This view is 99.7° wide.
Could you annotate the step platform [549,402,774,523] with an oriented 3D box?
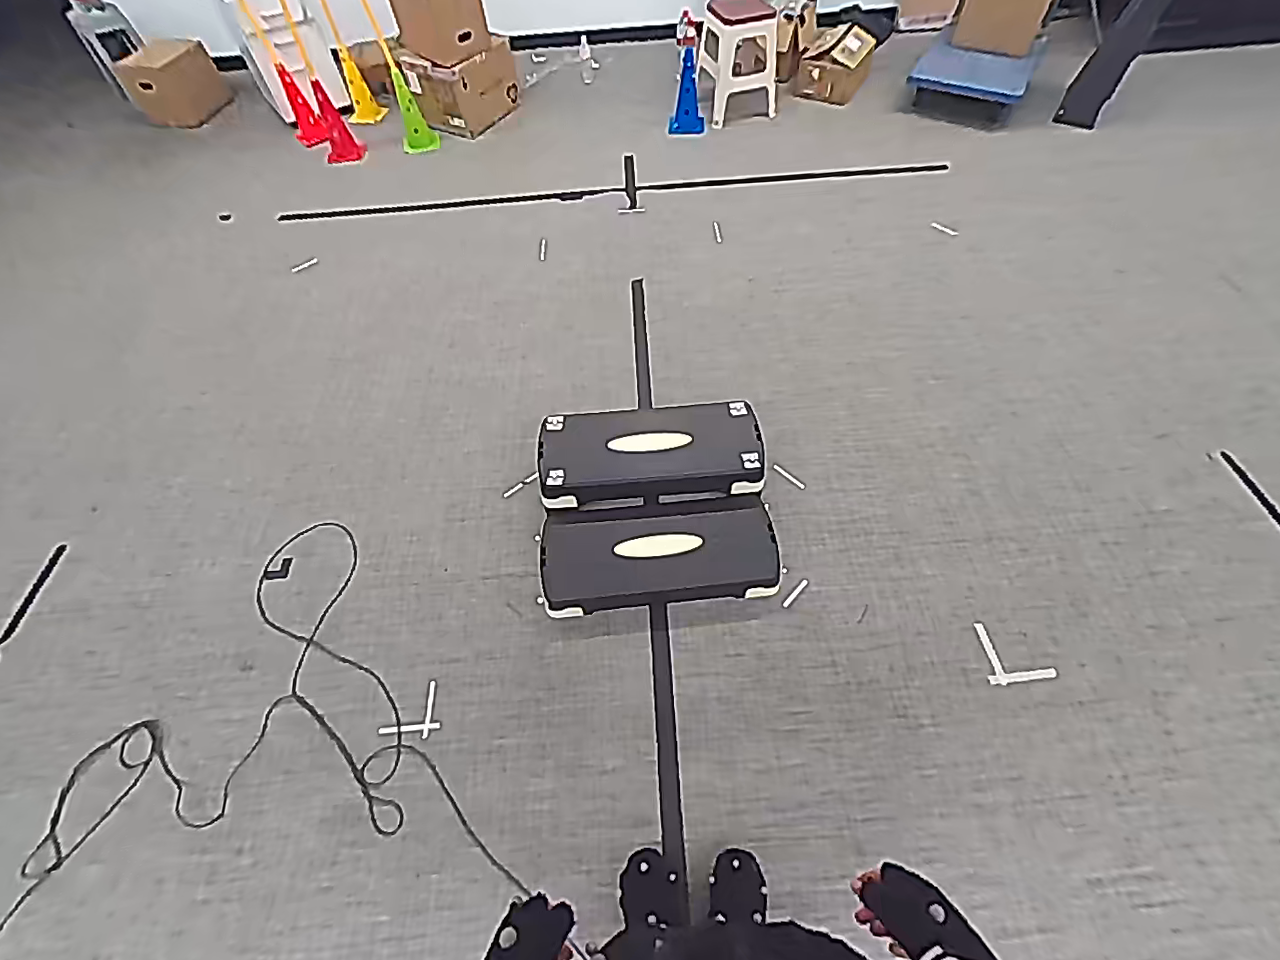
[{"bbox_3d":[0.062,-0.060,1.679,0.684,0.204,0.286,-5,56,-2],"label":"step platform"}]
